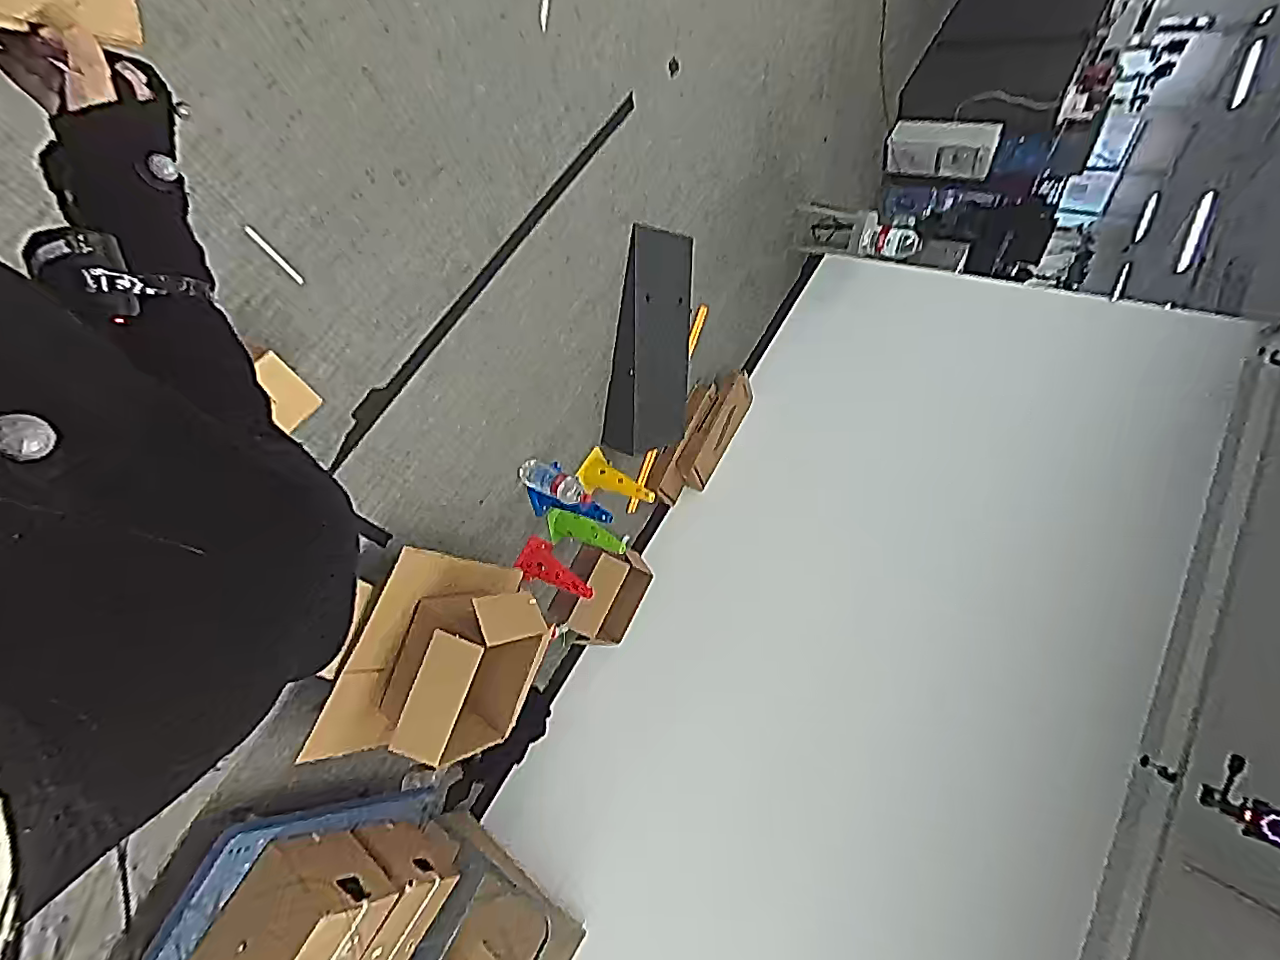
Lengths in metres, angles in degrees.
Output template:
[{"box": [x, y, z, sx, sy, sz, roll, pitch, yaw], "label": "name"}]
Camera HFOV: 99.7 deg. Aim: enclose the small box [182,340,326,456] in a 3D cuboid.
[{"box": [-0.878, -0.192, 1.232, 0.179, 0.176, 0.168, -54, 150, -21], "label": "small box"}]
